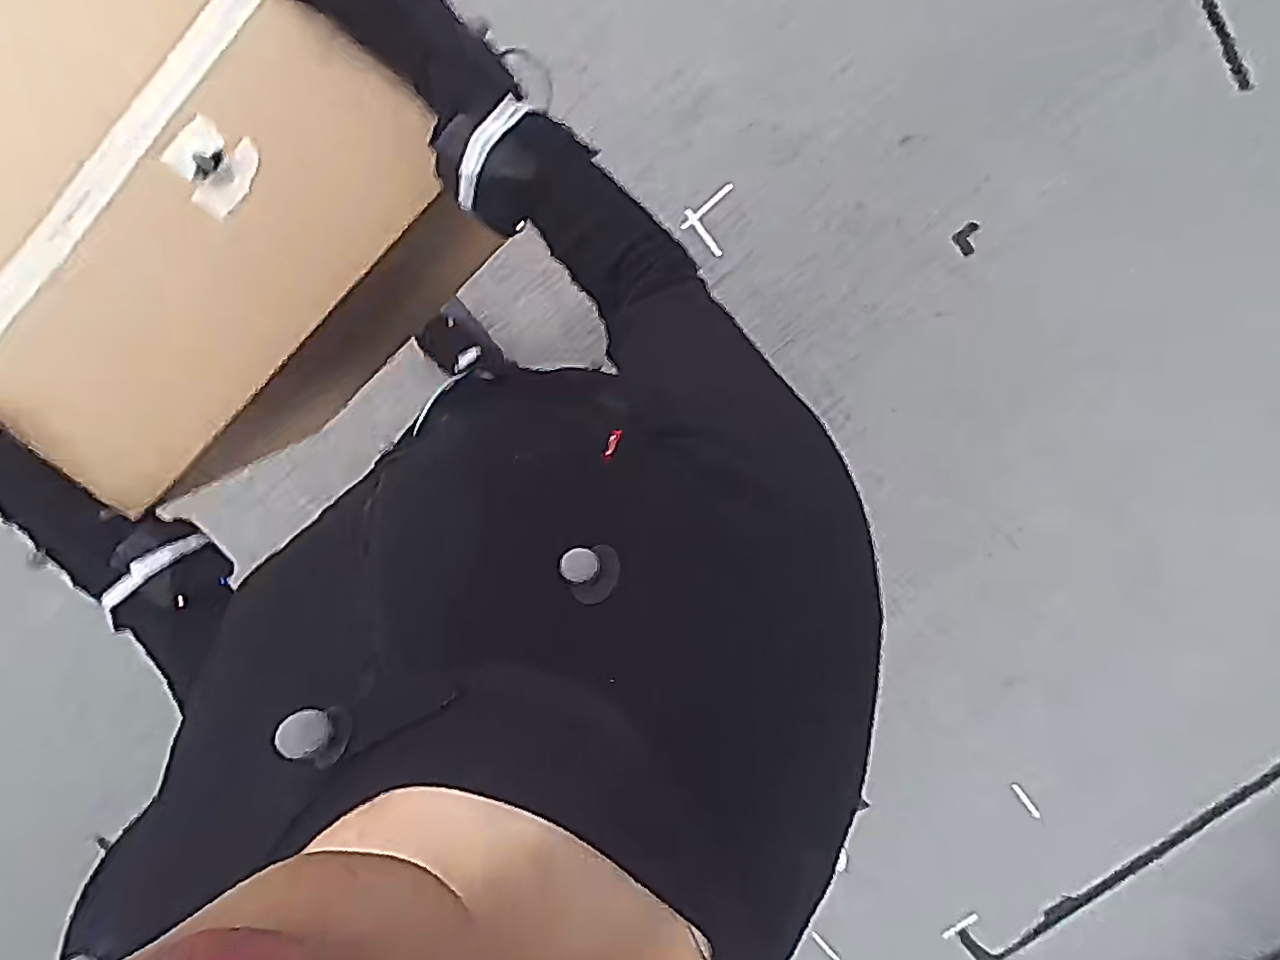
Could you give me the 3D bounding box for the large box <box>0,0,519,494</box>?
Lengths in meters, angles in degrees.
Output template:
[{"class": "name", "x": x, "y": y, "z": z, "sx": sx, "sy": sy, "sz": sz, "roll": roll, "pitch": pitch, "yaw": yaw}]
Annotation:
[{"class": "large box", "x": -0.380, "y": -0.263, "z": 0.527, "sx": 0.408, "sy": 0.320, "sz": 0.320, "roll": -42, "pitch": 107, "yaw": 7}]
